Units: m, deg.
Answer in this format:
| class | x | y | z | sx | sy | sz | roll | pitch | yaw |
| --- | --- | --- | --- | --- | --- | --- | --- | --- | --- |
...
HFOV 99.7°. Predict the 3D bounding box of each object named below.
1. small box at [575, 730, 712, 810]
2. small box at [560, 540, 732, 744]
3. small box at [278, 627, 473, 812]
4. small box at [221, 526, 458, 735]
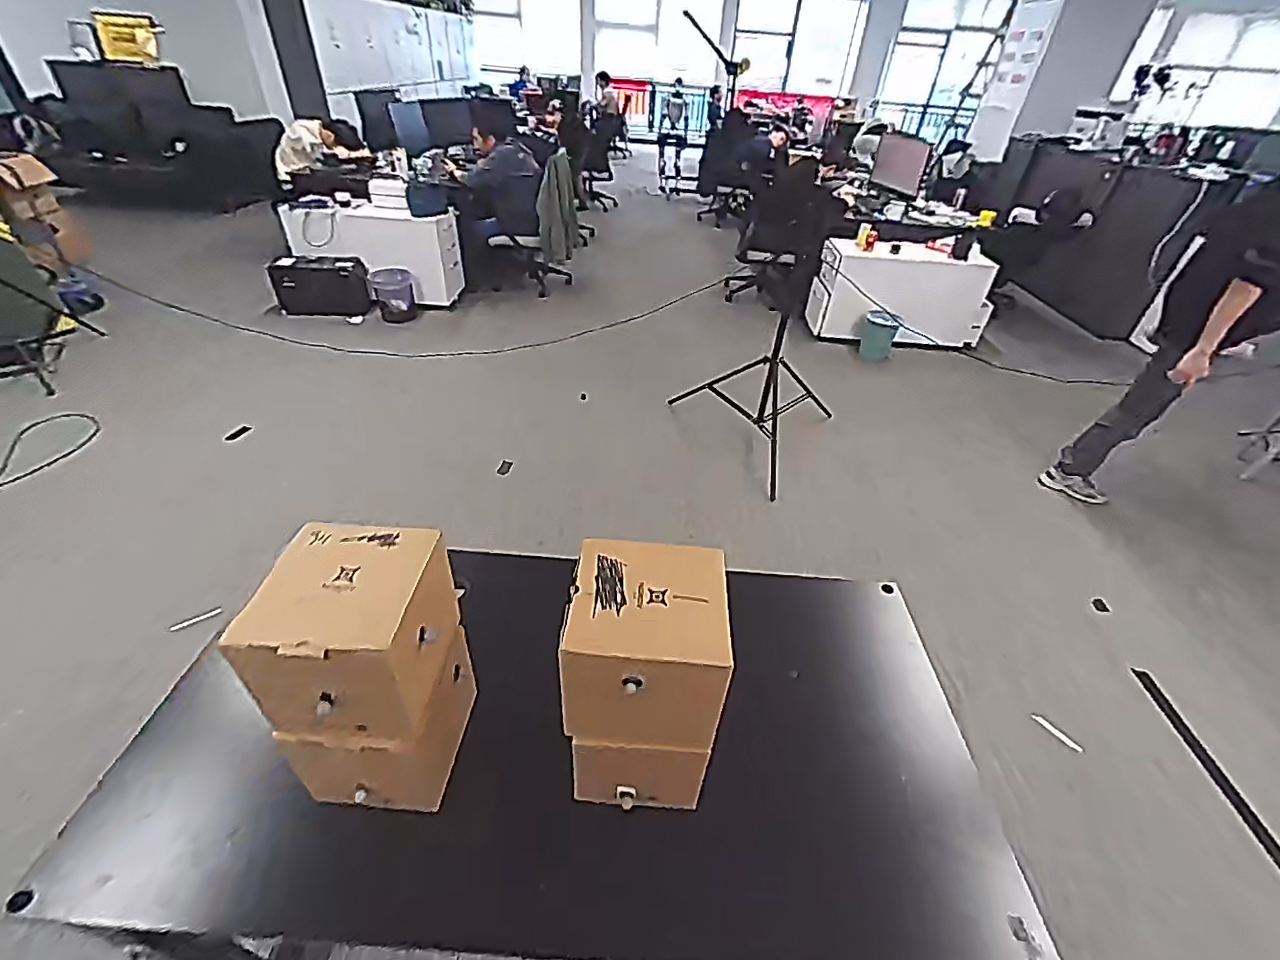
| class | x | y | z | sx | sy | sz | roll | pitch | yaw |
| --- | --- | --- | --- | --- | --- | --- | --- | --- | --- |
| small box | 0.003 | 0.325 | 0.750 | 0.168 | 0.176 | 0.179 | 3 | 39 | 0 |
| small box | 0.008 | 0.194 | 0.649 | 0.179 | 0.176 | 0.168 | 5 | 38 | 1 |
| small box | -0.334 | 0.311 | 0.728 | 0.168 | 0.176 | 0.179 | 5 | 38 | 1 |
| small box | -0.325 | 0.176 | 0.635 | 0.168 | 0.176 | 0.179 | 4 | 38 | -2 |
